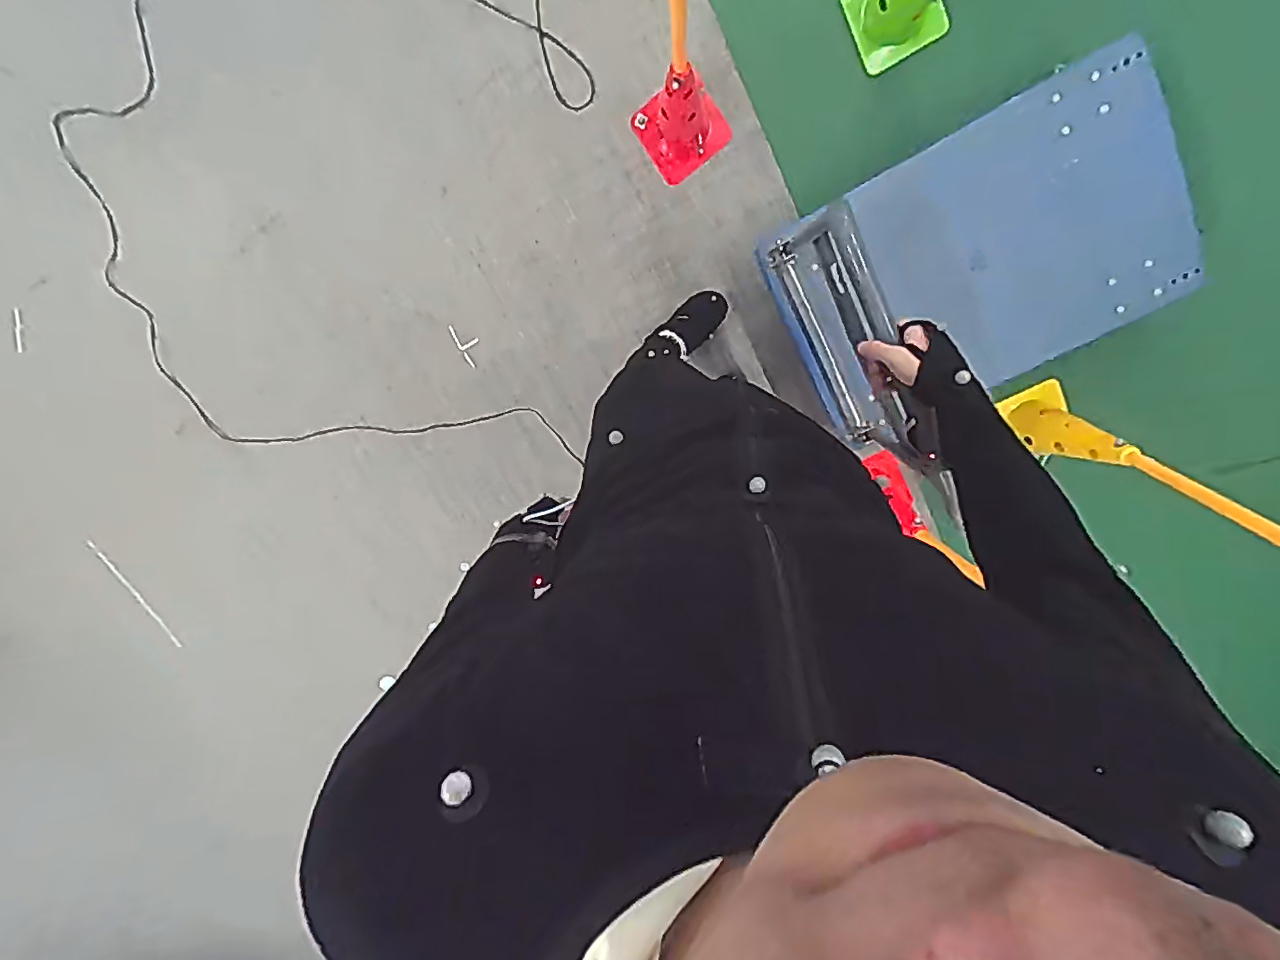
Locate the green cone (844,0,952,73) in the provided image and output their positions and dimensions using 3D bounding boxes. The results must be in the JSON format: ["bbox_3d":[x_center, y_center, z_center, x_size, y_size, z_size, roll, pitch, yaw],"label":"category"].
[{"bbox_3d":[0.587,-1.049,1.092,0.202,0.368,0.200,-27,101,10],"label":"green cone"}]

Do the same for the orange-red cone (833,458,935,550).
[{"bbox_3d":[0.671,0.096,1.408,0.199,0.360,0.198,-26,103,10],"label":"orange-red cone"}]
